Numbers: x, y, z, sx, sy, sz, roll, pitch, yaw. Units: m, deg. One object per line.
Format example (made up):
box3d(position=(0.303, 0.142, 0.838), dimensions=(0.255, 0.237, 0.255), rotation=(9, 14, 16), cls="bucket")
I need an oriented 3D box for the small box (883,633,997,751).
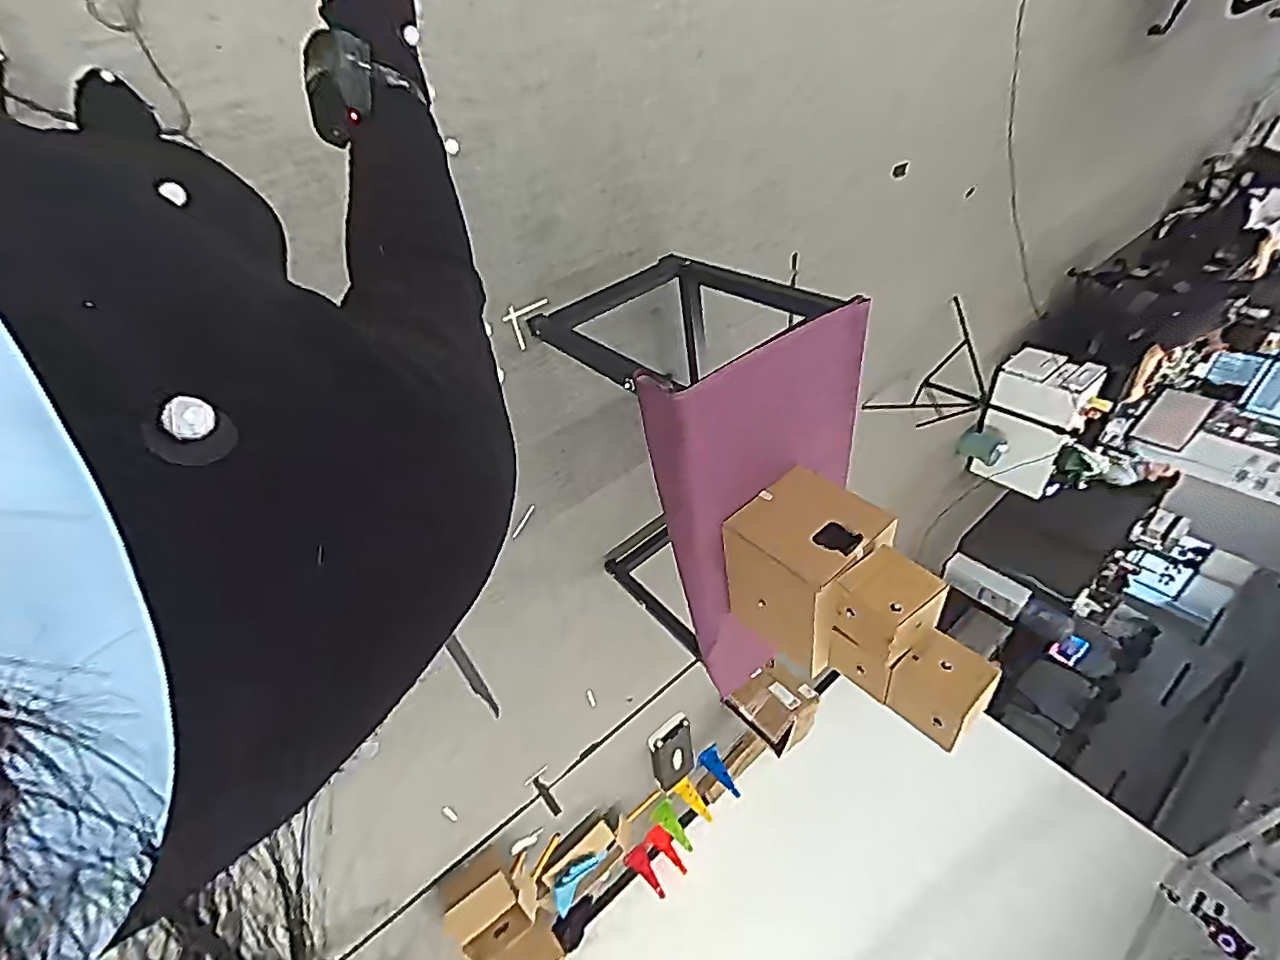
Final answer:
box3d(position=(0.707, 0.495, 1.292), dimensions=(0.168, 0.176, 0.179), rotation=(-33, 134, -23), cls="small box")
